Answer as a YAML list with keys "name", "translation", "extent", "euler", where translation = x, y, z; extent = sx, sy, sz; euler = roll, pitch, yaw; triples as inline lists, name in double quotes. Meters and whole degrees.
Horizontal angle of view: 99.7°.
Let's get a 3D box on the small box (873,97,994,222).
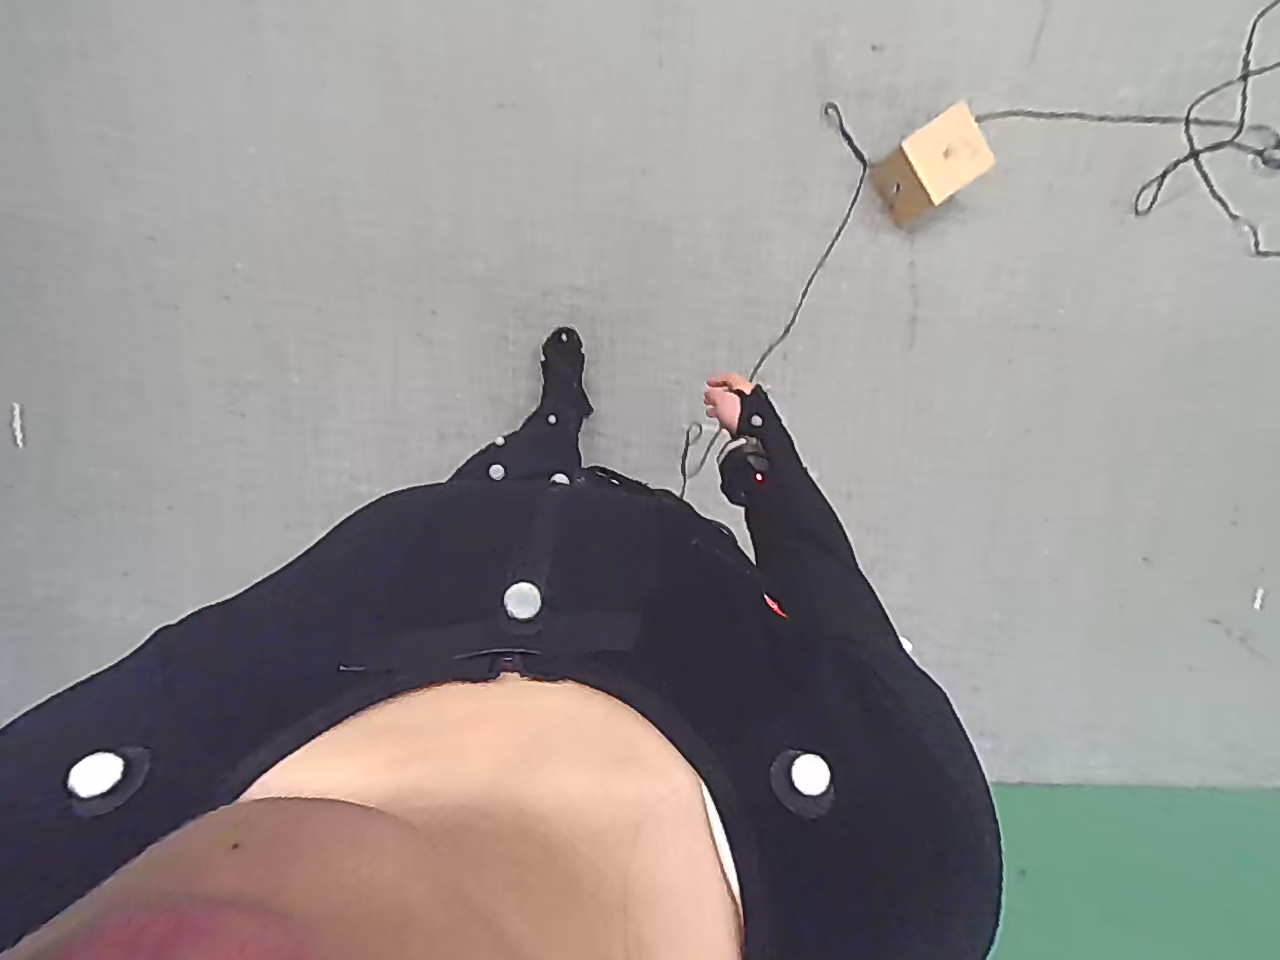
- name: "small box"
  translation: [0.701, -0.768, 1.322]
  extent: [0.179, 0.176, 0.168]
  euler: [-35, 98, 2]
